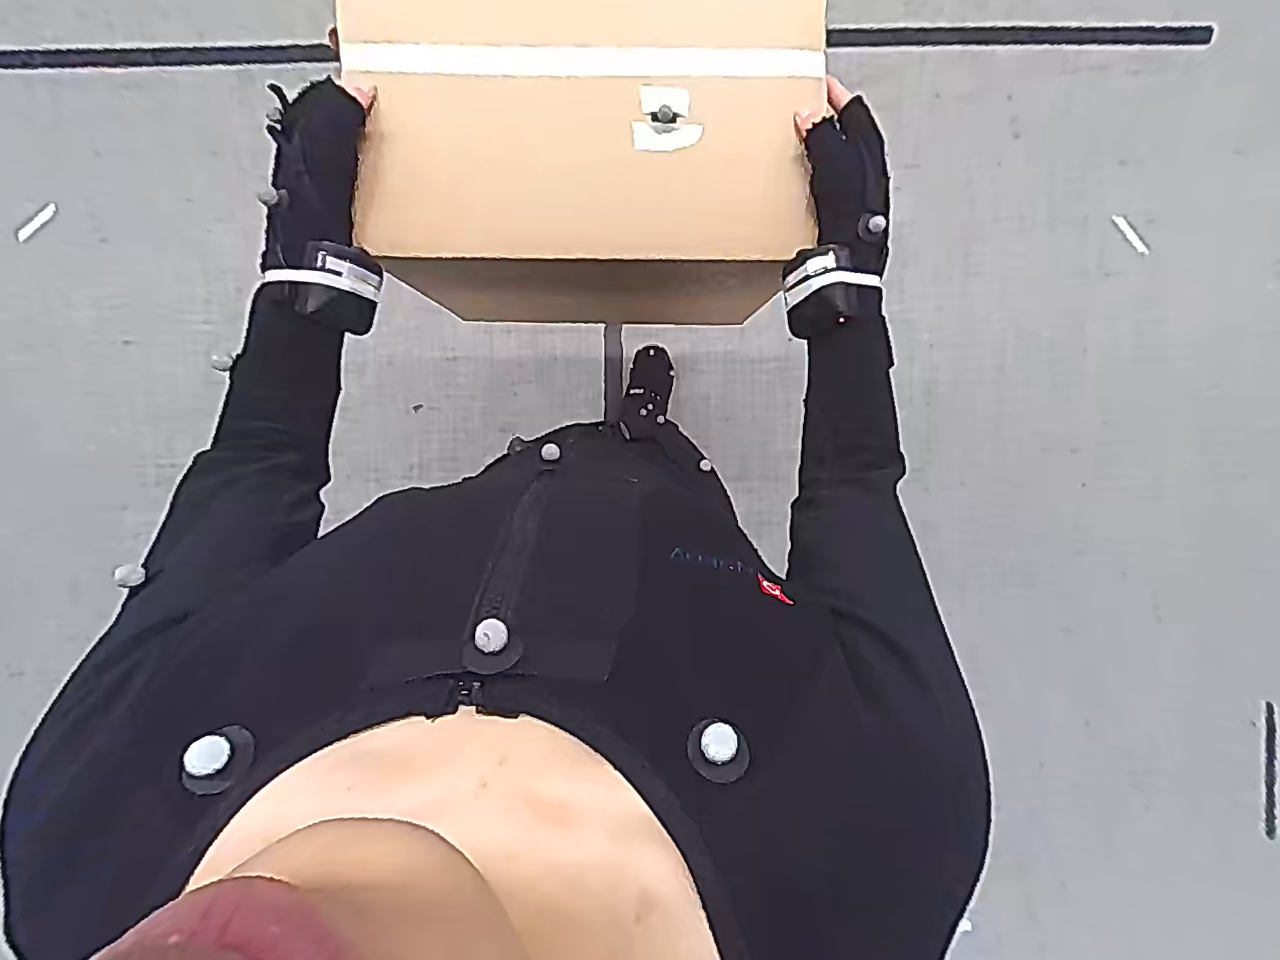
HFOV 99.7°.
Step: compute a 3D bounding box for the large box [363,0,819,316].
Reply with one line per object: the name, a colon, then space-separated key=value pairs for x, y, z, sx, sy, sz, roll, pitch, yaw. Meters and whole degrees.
large box: x=-0.047 y=-0.379 z=0.623 sx=0.408 sy=0.320 sz=0.320 roll=-1 pitch=97 yaw=-2
